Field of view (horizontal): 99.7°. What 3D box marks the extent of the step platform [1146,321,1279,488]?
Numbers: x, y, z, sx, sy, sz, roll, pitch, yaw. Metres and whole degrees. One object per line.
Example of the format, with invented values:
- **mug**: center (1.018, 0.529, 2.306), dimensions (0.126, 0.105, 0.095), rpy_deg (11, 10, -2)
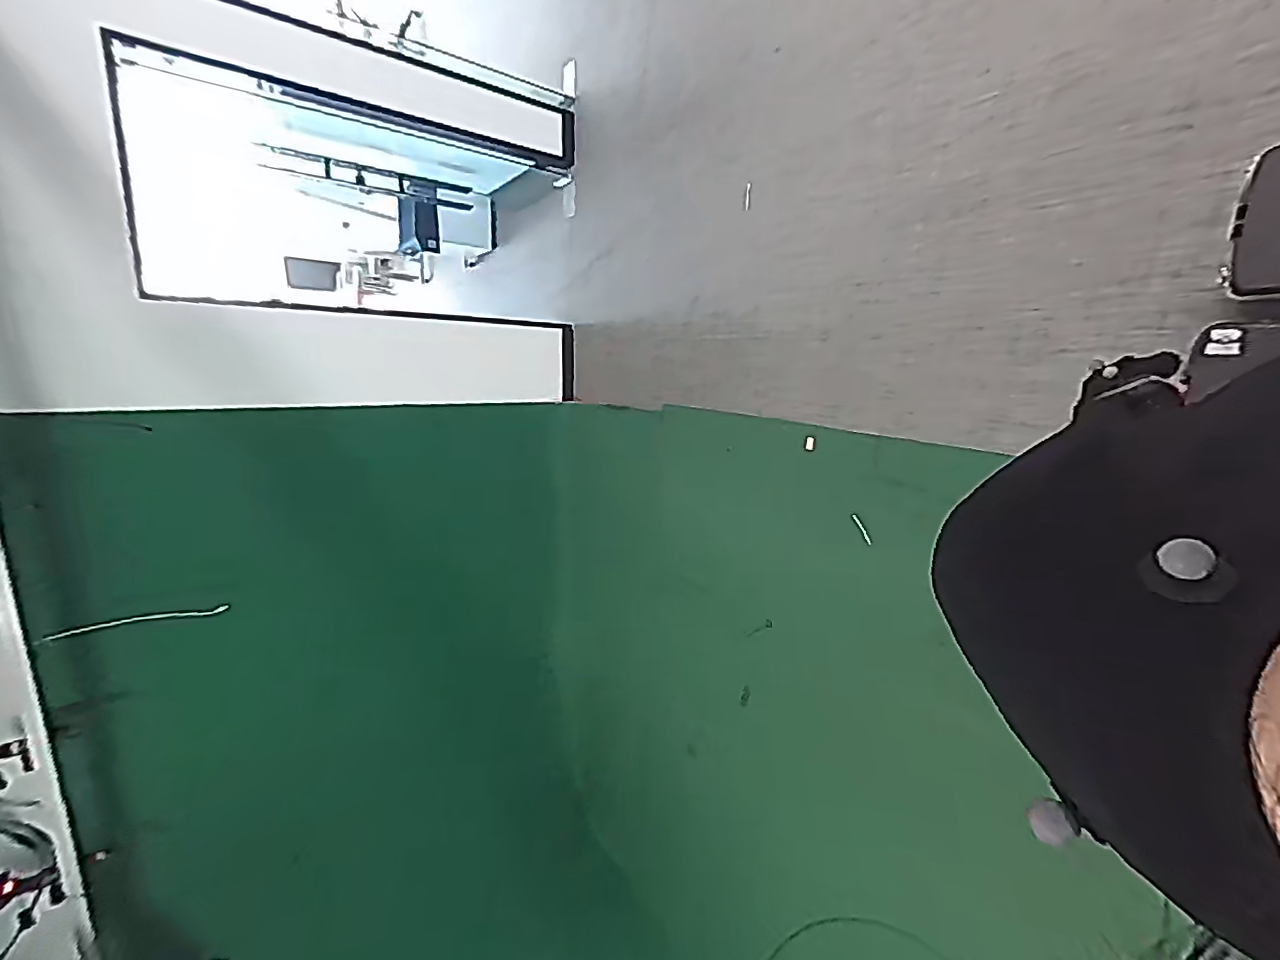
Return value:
- **step platform**: center (1.213, -0.087, 0.778), dimensions (0.684, 0.204, 0.286), rpy_deg (17, 109, 51)
